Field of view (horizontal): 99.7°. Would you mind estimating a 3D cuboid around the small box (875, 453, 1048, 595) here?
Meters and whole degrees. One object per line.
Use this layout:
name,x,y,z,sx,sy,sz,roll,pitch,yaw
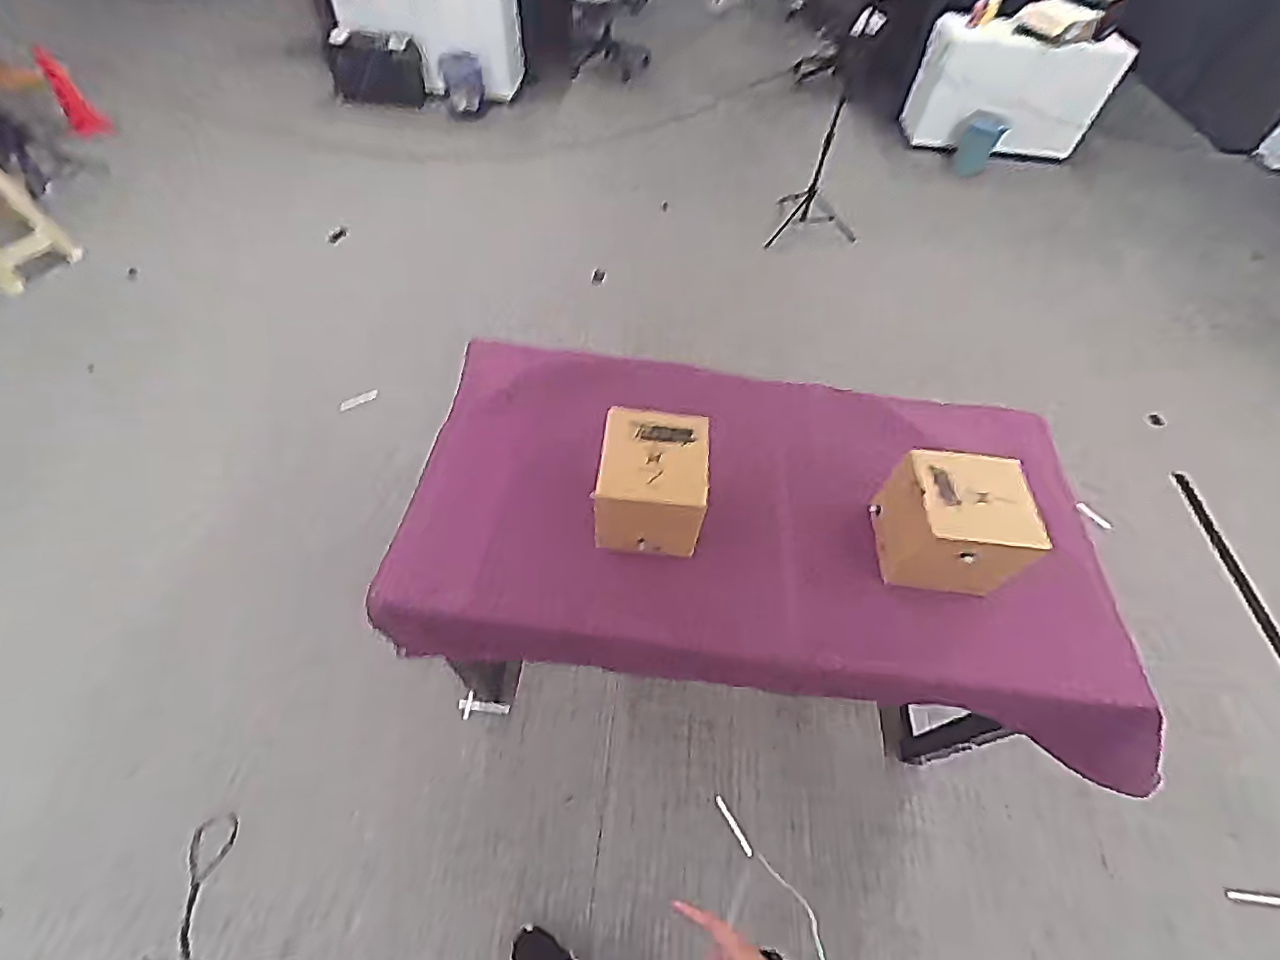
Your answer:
small box,0.506,0.077,0.890,0.179,0.176,0.168,6,54,0
